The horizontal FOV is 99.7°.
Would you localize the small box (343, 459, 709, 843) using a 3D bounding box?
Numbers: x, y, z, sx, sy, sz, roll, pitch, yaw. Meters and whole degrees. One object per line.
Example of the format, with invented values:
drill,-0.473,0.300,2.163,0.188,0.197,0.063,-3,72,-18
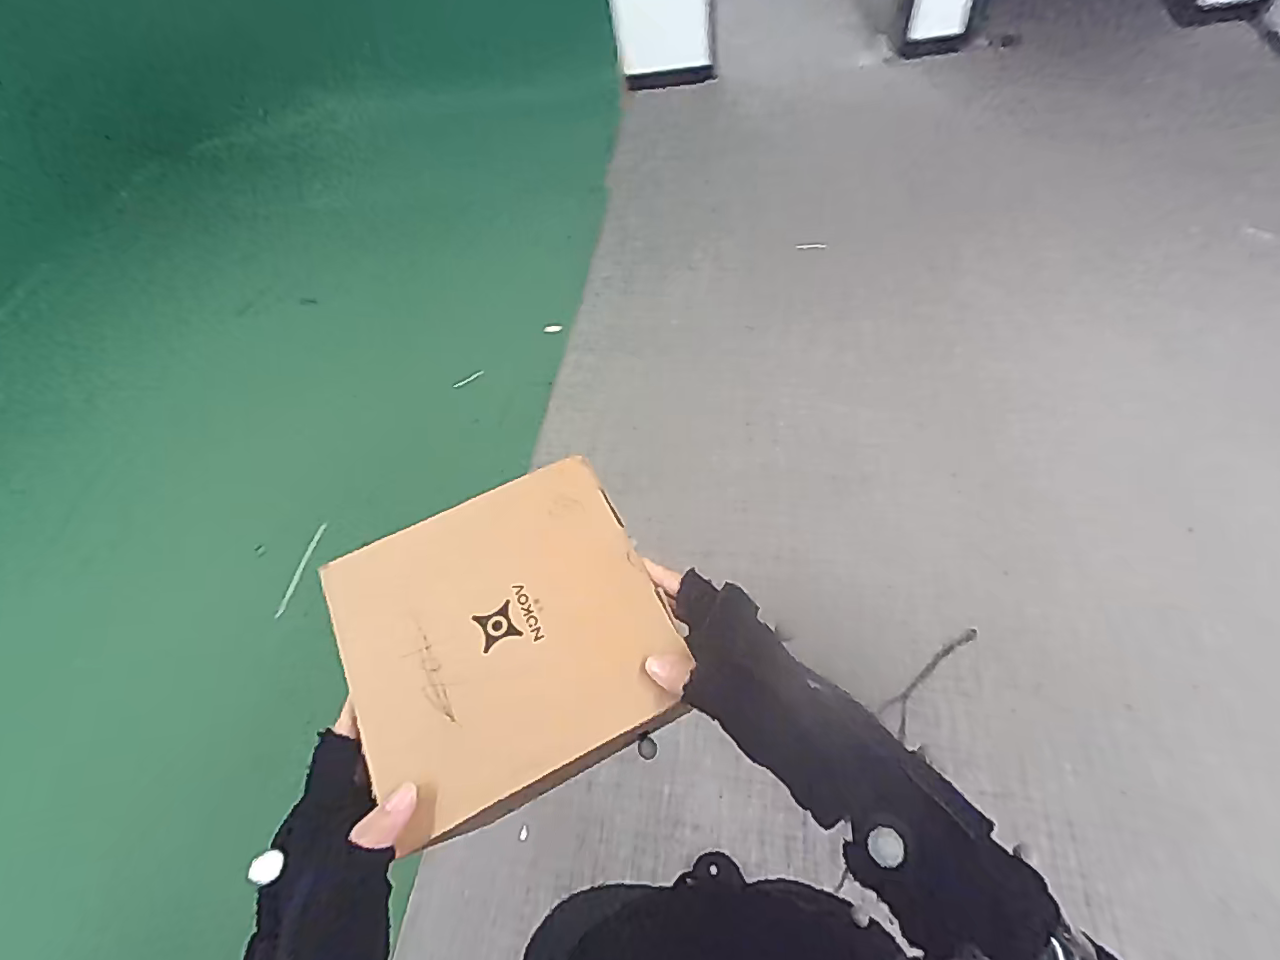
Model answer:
small box,-0.070,0.119,0.387,0.179,0.176,0.168,-25,64,-9
